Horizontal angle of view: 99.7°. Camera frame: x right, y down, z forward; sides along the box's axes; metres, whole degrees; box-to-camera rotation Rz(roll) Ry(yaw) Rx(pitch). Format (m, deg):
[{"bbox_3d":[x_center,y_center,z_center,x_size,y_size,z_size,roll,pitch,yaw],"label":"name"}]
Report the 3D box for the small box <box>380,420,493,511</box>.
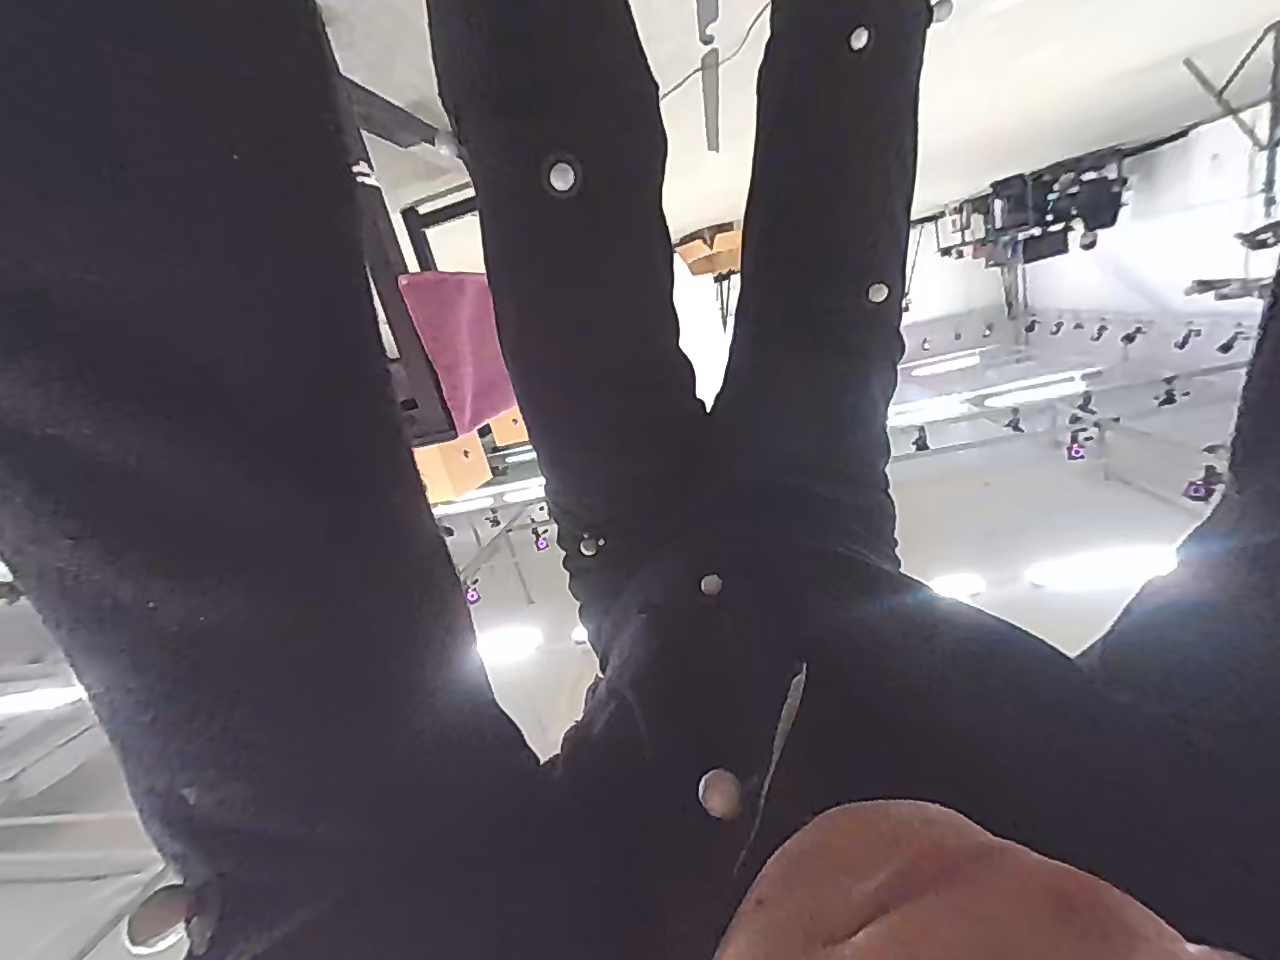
[{"bbox_3d":[-0.500,-0.041,1.333,0.179,0.176,0.168,-9,-163,19],"label":"small box"}]
